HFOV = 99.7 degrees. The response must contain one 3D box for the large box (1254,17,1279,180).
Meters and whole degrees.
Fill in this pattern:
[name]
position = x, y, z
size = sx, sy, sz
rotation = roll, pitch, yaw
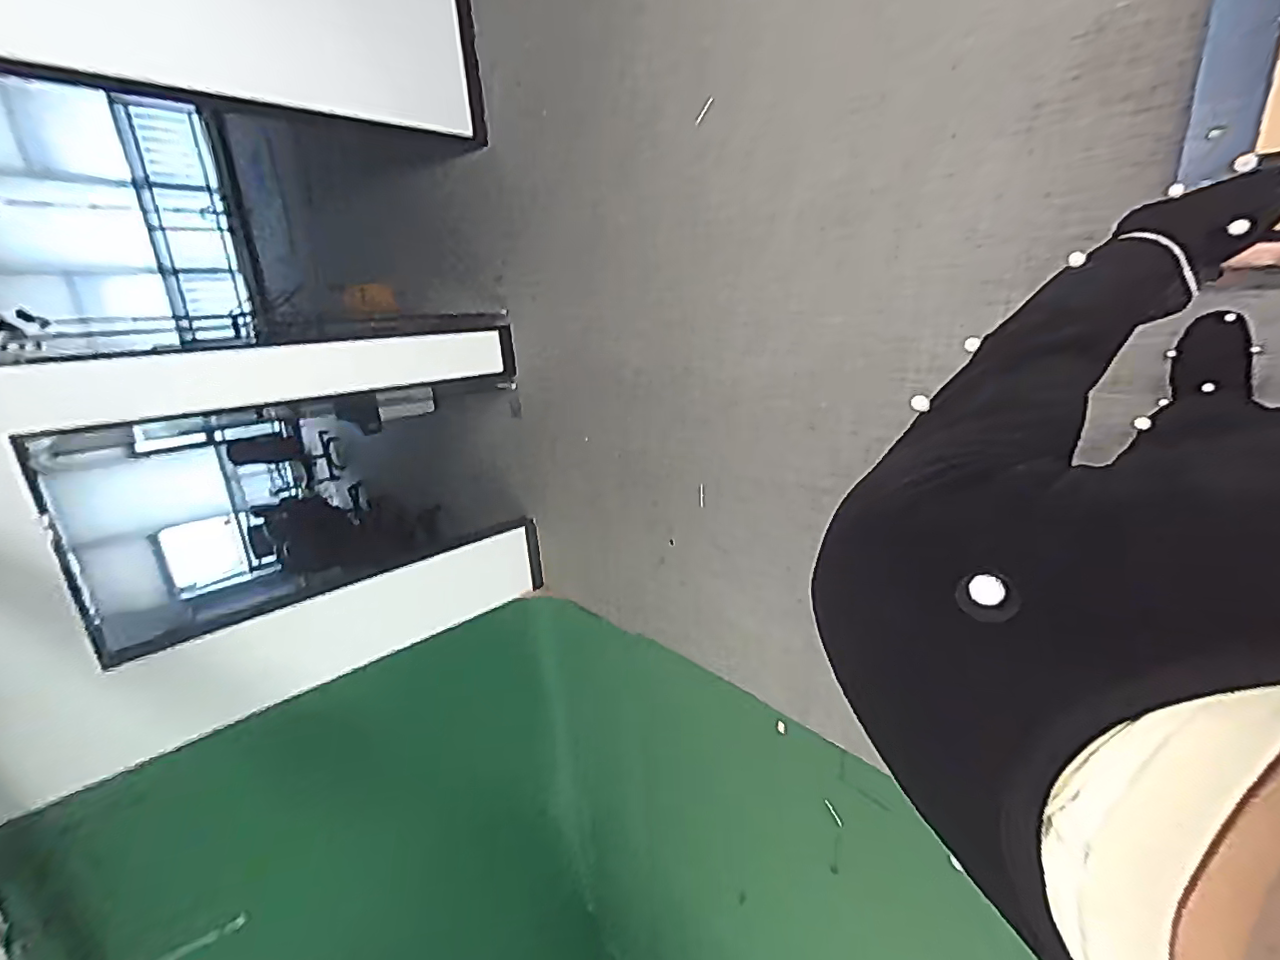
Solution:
[large box]
position = 1.036, -0.642, 0.665
size = 0.320, 0.320, 0.408
rotation = 15, 114, 45
